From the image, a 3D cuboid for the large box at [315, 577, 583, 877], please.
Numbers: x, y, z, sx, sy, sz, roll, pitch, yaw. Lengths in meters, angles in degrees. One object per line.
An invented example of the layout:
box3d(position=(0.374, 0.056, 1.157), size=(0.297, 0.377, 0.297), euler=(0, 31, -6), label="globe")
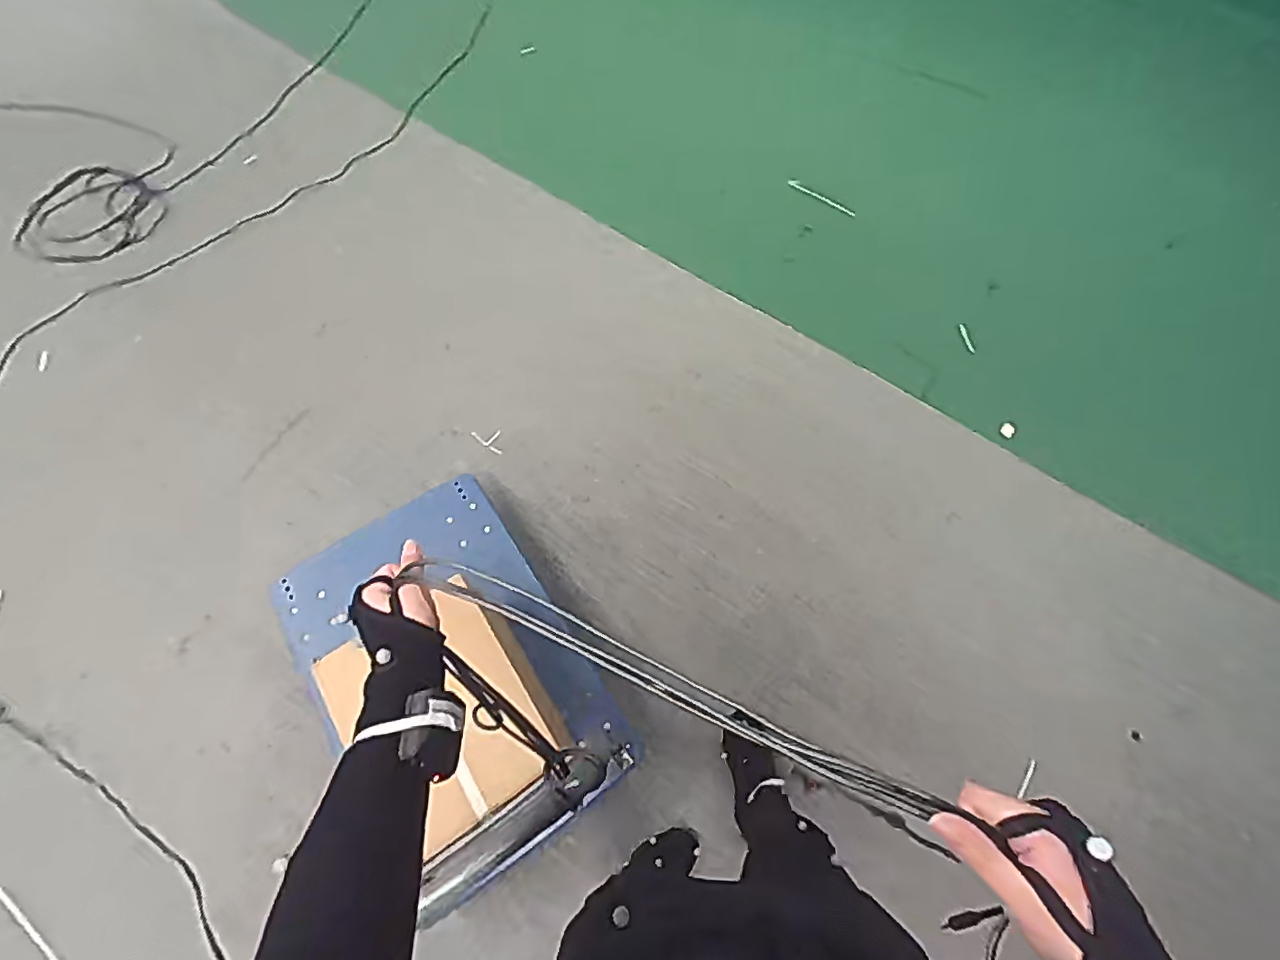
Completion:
box3d(position=(-0.360, 0.476, 1.099), size=(0.320, 0.320, 0.408), euler=(-32, 69, -14), label="large box")
